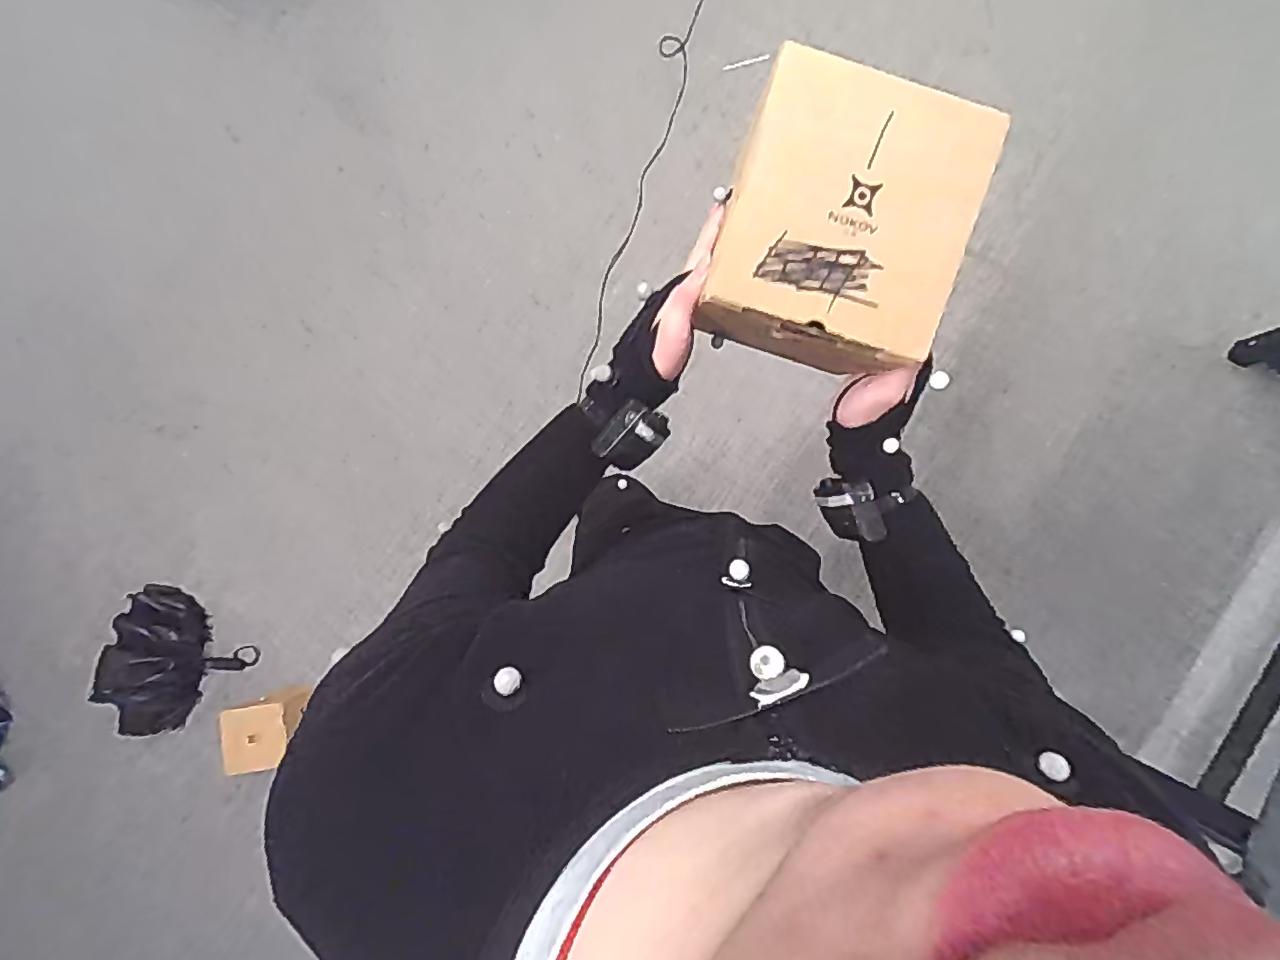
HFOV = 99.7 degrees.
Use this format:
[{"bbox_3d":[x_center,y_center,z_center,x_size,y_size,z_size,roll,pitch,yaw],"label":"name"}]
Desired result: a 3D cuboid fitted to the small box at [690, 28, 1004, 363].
[{"bbox_3d":[0.146,-0.207,0.453,0.168,0.176,0.179,18,97,-2],"label":"small box"}]
